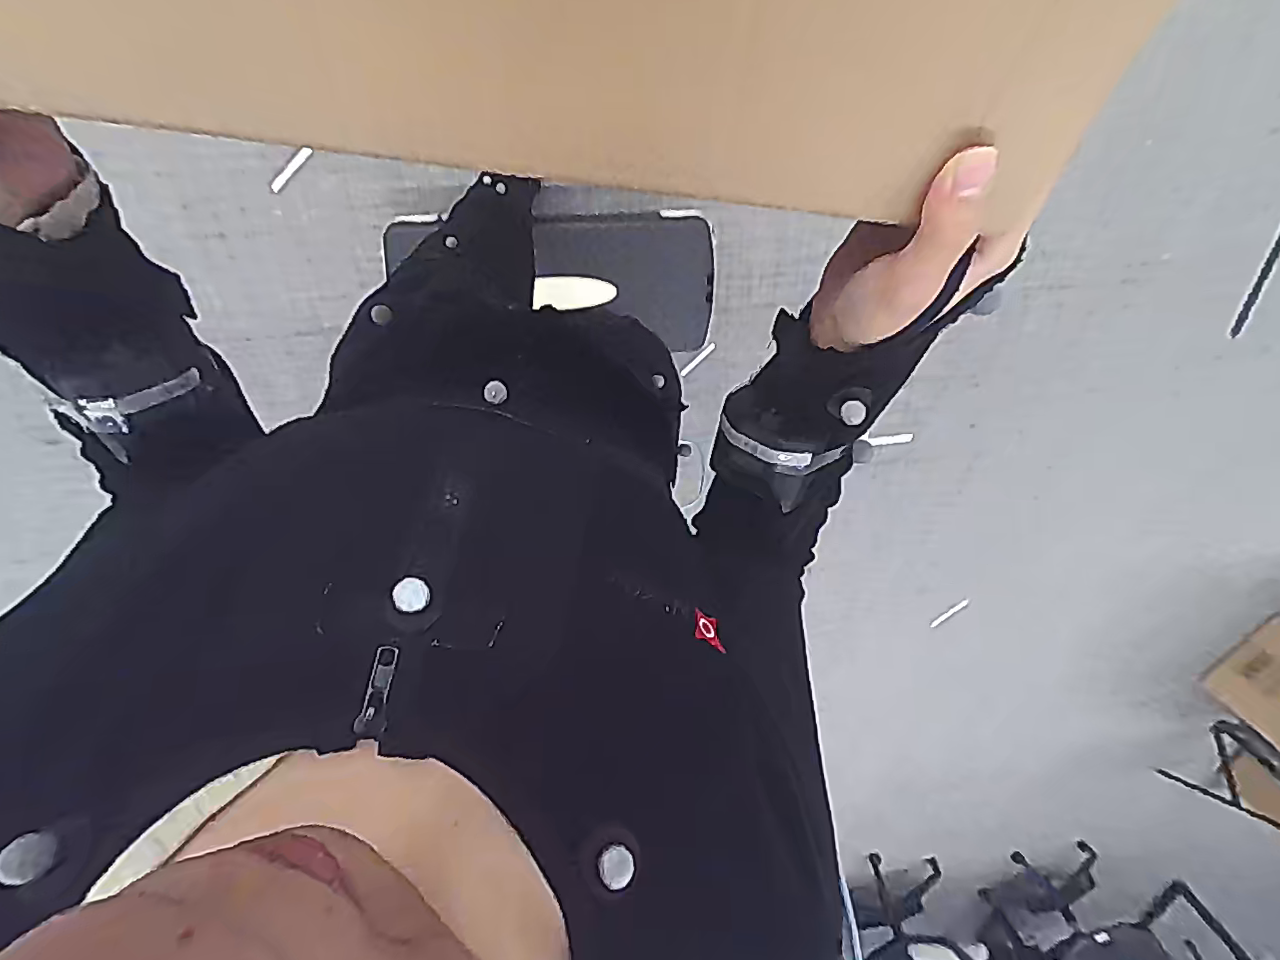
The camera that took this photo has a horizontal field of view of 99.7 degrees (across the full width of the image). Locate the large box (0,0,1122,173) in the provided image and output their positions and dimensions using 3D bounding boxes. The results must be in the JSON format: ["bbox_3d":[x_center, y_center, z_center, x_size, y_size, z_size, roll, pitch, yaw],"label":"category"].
[{"bbox_3d":[-0.043,-0.335,0.156,0.408,0.320,0.320,3,145,-5],"label":"large box"}]
